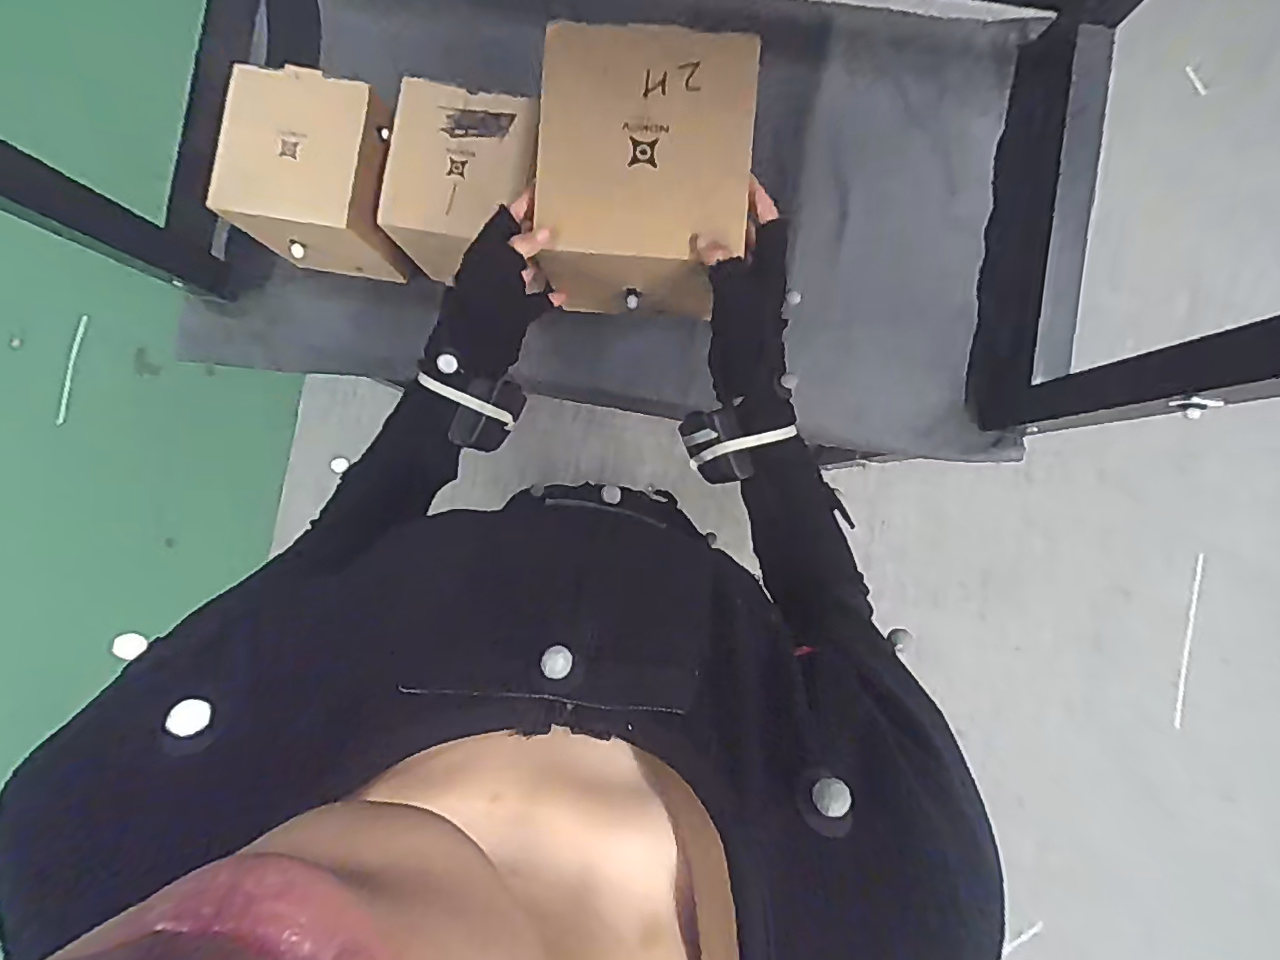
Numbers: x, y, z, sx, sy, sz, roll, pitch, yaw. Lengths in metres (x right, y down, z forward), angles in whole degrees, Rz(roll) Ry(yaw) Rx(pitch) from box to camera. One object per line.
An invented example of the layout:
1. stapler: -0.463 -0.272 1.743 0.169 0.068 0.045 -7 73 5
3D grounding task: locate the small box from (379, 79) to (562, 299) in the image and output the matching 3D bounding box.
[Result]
1. small box: -0.202 -0.358 0.696 0.168 0.176 0.179 10 89 1

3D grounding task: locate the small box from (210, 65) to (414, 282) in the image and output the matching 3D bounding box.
1. small box: -0.398 -0.378 0.698 0.168 0.176 0.179 9 87 0
